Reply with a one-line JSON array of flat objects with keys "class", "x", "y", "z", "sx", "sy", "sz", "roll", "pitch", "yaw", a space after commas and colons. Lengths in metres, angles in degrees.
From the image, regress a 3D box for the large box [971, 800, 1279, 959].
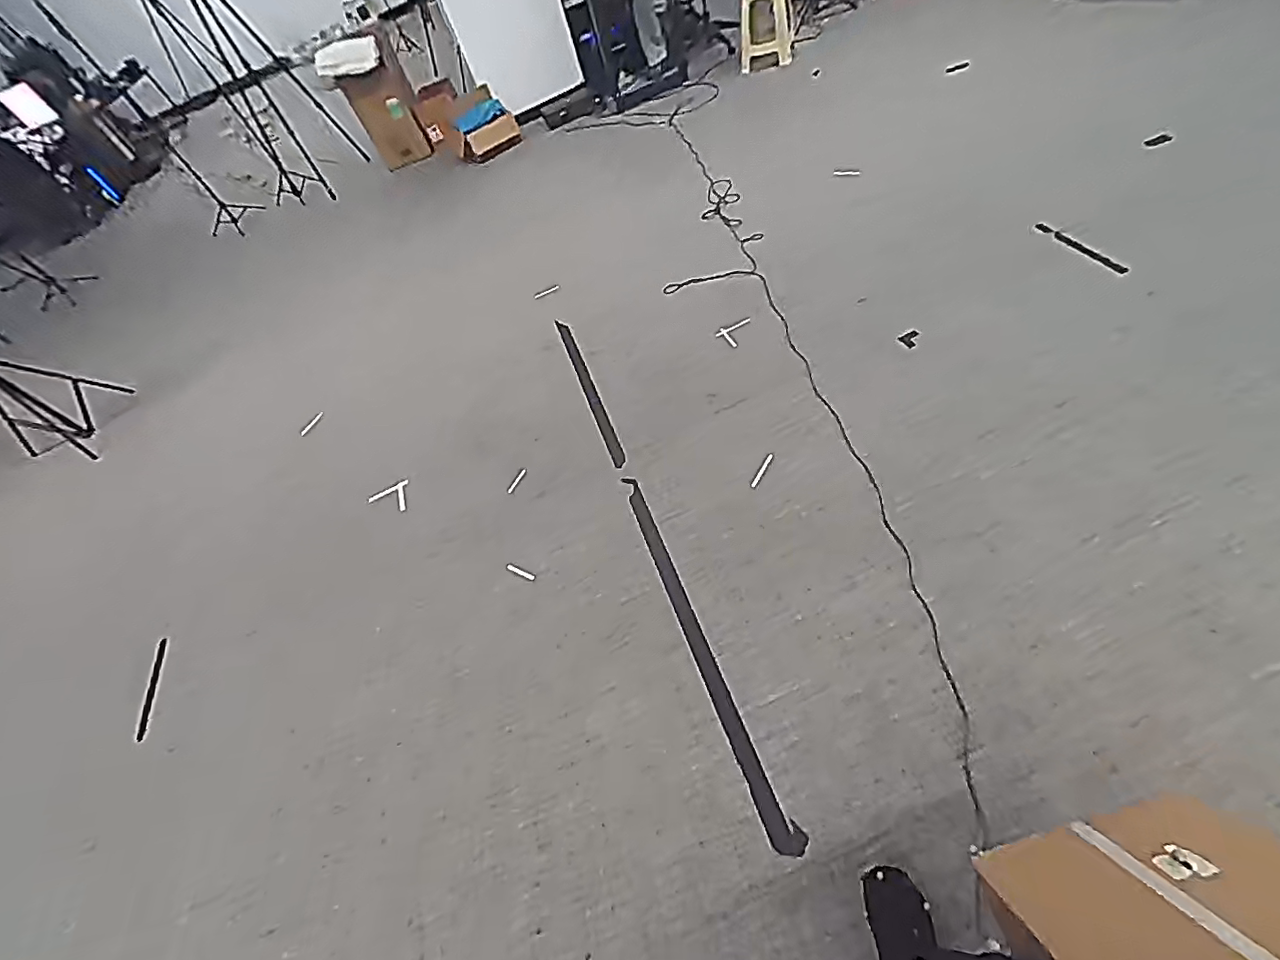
[{"class": "large box", "x": 0.658, "y": 0.621, "z": 0.565, "sx": 0.320, "sy": 0.408, "sz": 0.320, "roll": -19, "pitch": 79, "yaw": 3}]
